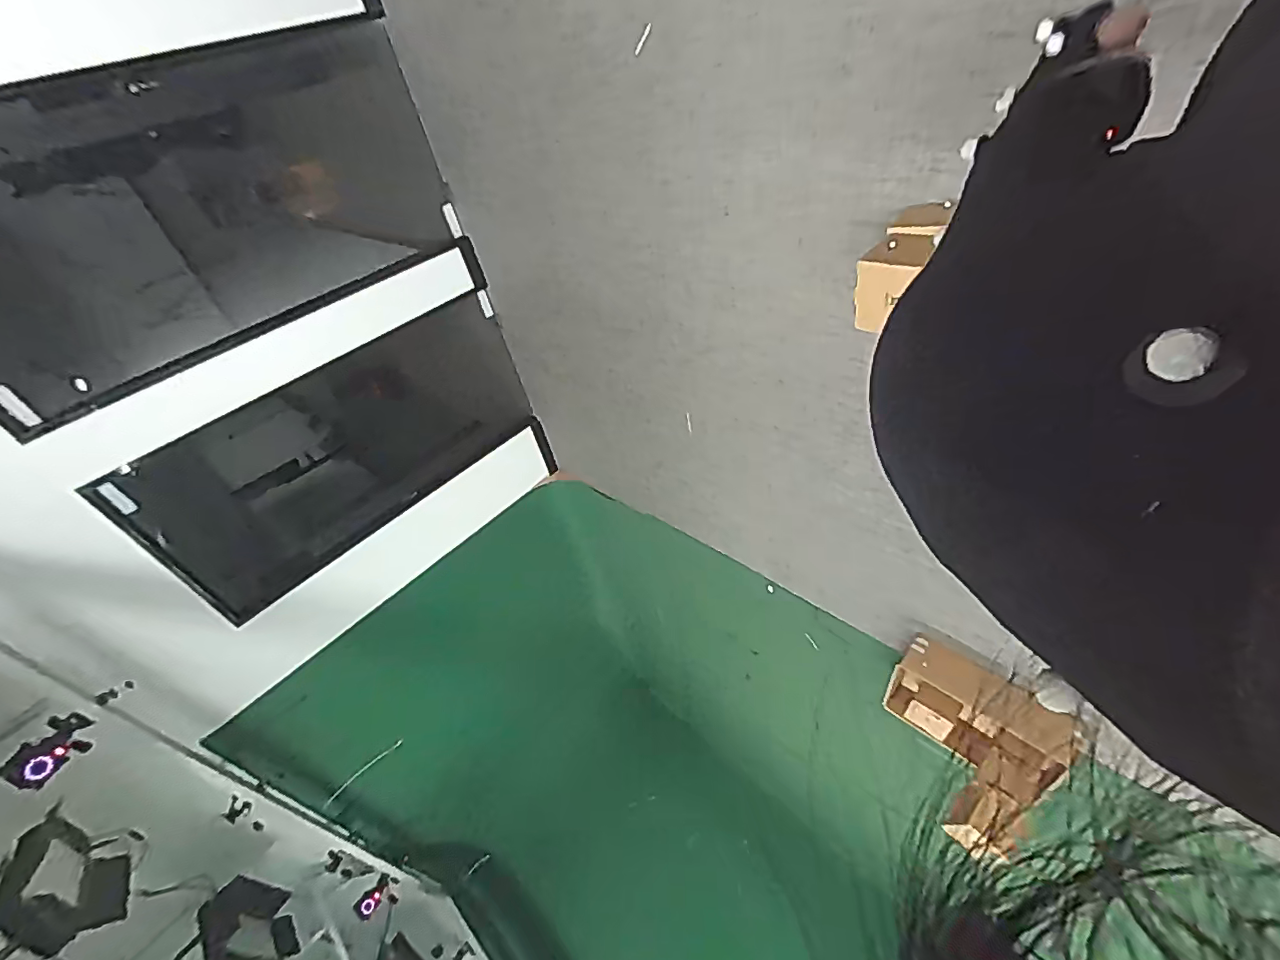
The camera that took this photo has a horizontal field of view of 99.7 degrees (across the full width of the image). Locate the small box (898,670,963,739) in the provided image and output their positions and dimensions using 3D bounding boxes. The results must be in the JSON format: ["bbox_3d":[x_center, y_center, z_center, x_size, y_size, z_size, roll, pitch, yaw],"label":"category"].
[{"bbox_3d":[1.218,0.937,2.264,0.168,0.176,0.179,30,146,32],"label":"small box"}]

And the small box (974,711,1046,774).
[{"bbox_3d":[1.422,1.034,2.078,0.168,0.176,0.179,27,144,37],"label":"small box"}]

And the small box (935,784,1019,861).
[{"bbox_3d":[1.198,1.205,1.913,0.168,0.176,0.179,41,152,18],"label":"small box"}]

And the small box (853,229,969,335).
[{"bbox_3d":[0.608,-0.452,1.223,0.179,0.176,0.168,25,144,38],"label":"small box"}]

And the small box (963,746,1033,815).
[{"bbox_3d":[1.312,1.121,1.991,0.168,0.176,0.179,29,146,37],"label":"small box"}]
